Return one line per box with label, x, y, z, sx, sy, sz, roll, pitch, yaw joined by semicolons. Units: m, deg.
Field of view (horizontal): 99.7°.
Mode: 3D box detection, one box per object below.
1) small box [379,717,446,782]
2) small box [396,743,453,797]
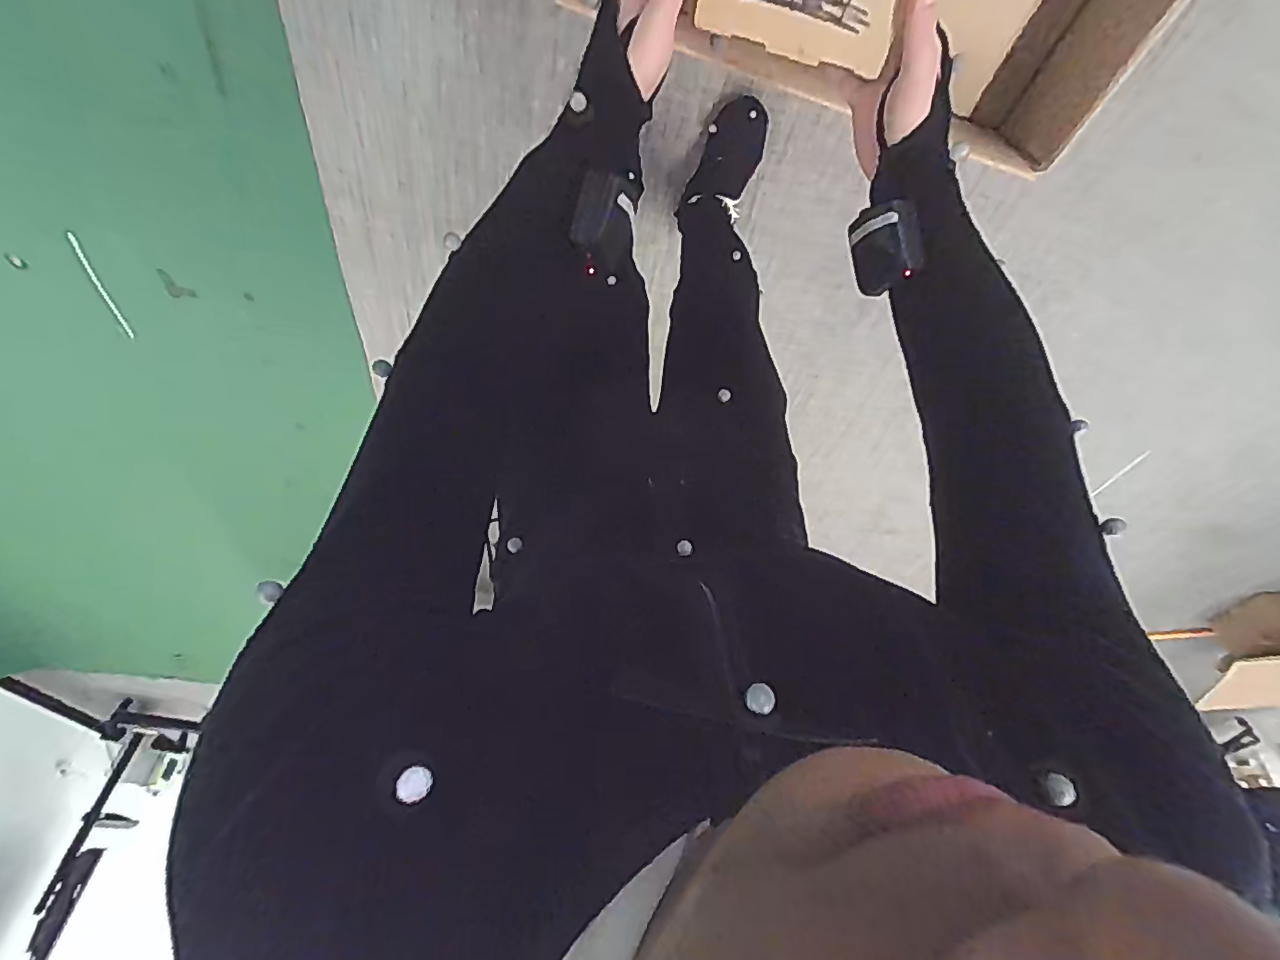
small box;-0.801;0.961;1.922;0.168;0.176;0.179;6;140;-6
small box;-0.855;1.152;2.161;0.168;0.176;0.179;8;140;-7
